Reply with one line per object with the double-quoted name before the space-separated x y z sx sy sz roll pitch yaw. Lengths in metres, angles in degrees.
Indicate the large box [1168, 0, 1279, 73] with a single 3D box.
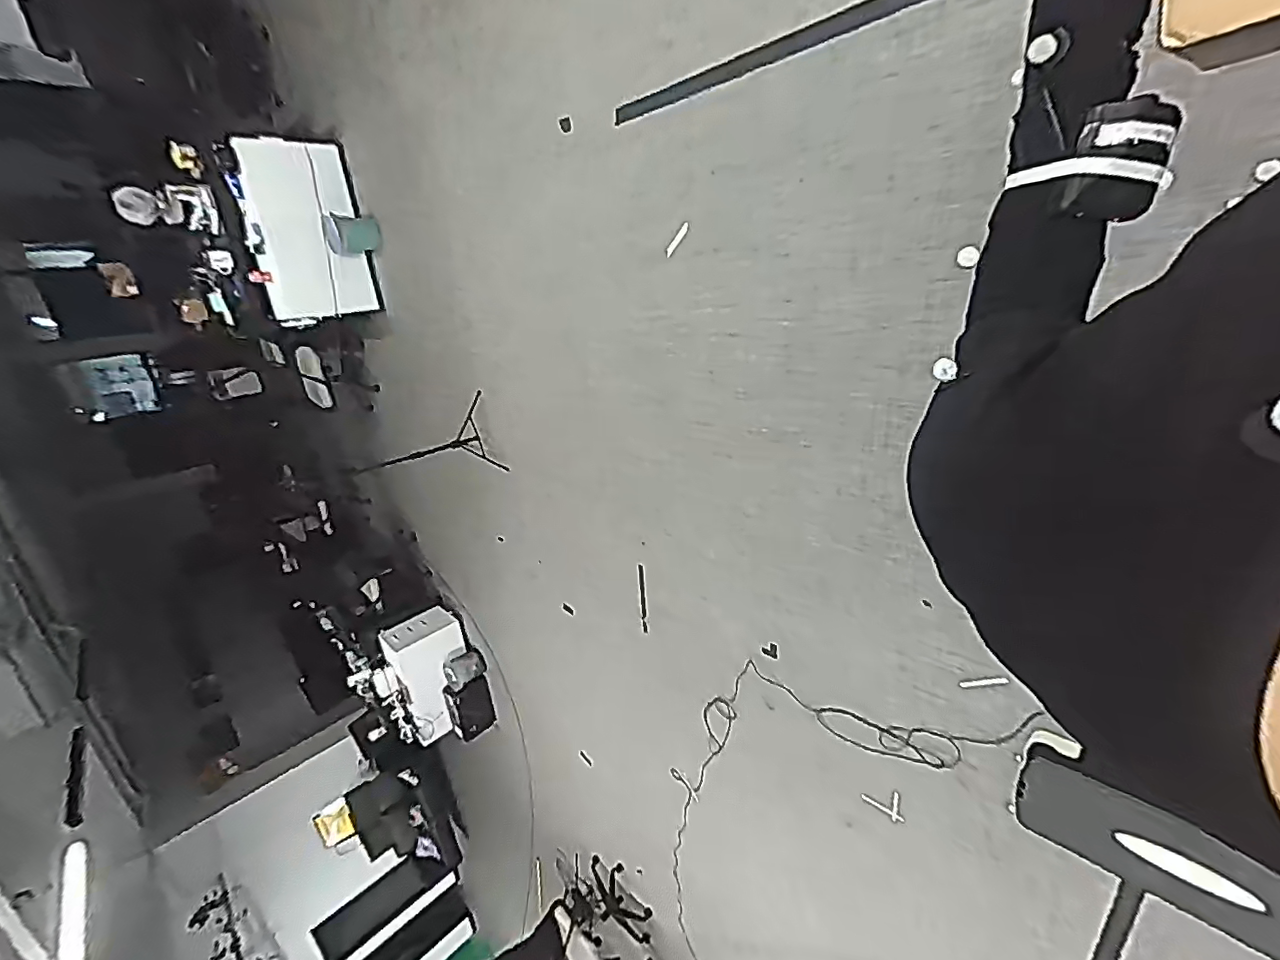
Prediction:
"large box" 0.541 -0.459 0.247 0.408 0.320 0.320 8 120 46
